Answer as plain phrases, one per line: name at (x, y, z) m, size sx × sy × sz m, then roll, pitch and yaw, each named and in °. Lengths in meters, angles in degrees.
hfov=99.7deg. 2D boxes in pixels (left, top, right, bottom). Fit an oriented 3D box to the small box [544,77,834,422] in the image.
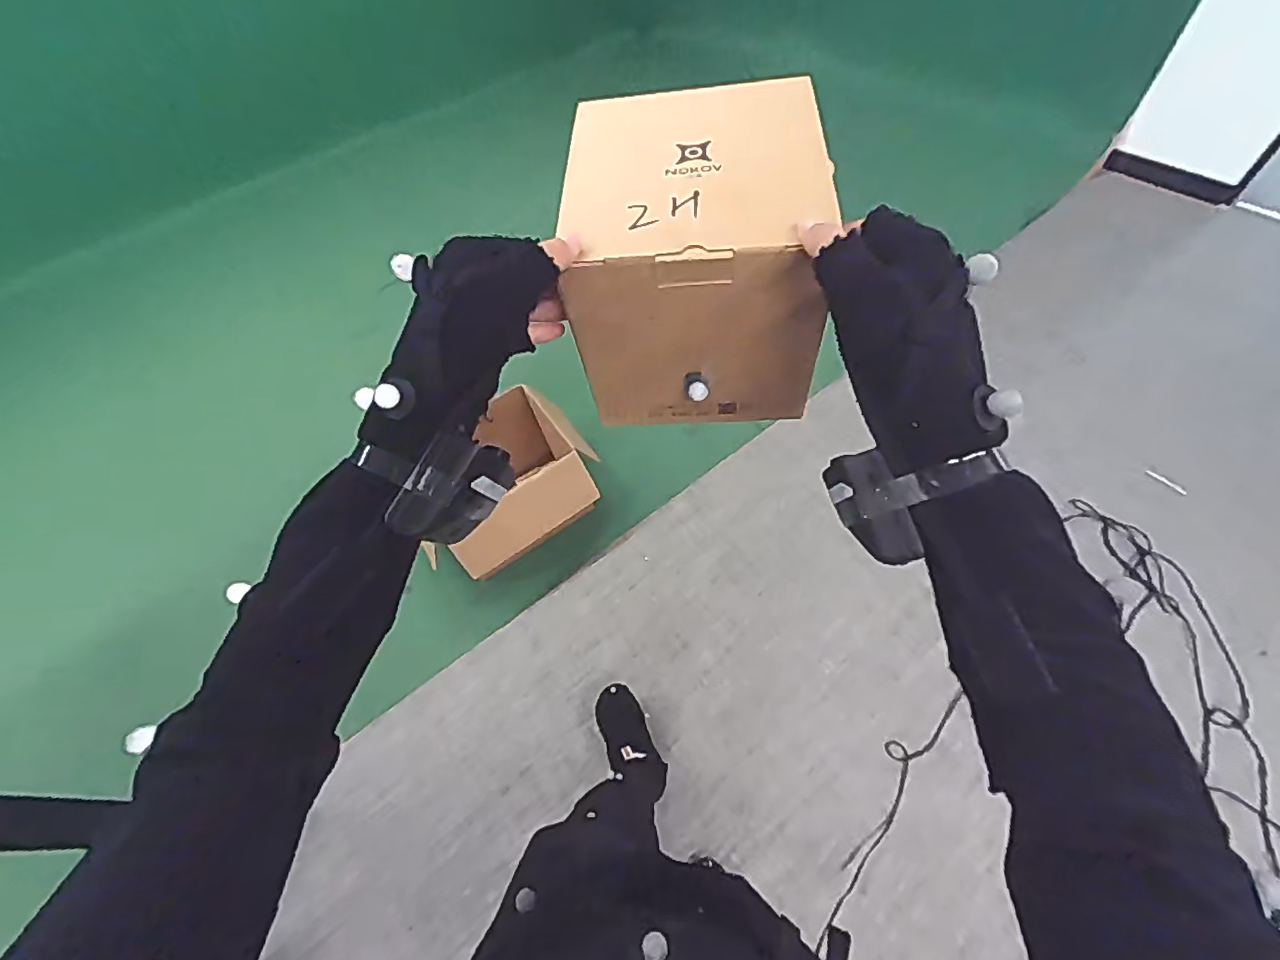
small box at (0.039, -0.163, 0.411) m, size 0.168 × 0.176 × 0.179 m, roll -1°, pitch 61°, yaw 8°
